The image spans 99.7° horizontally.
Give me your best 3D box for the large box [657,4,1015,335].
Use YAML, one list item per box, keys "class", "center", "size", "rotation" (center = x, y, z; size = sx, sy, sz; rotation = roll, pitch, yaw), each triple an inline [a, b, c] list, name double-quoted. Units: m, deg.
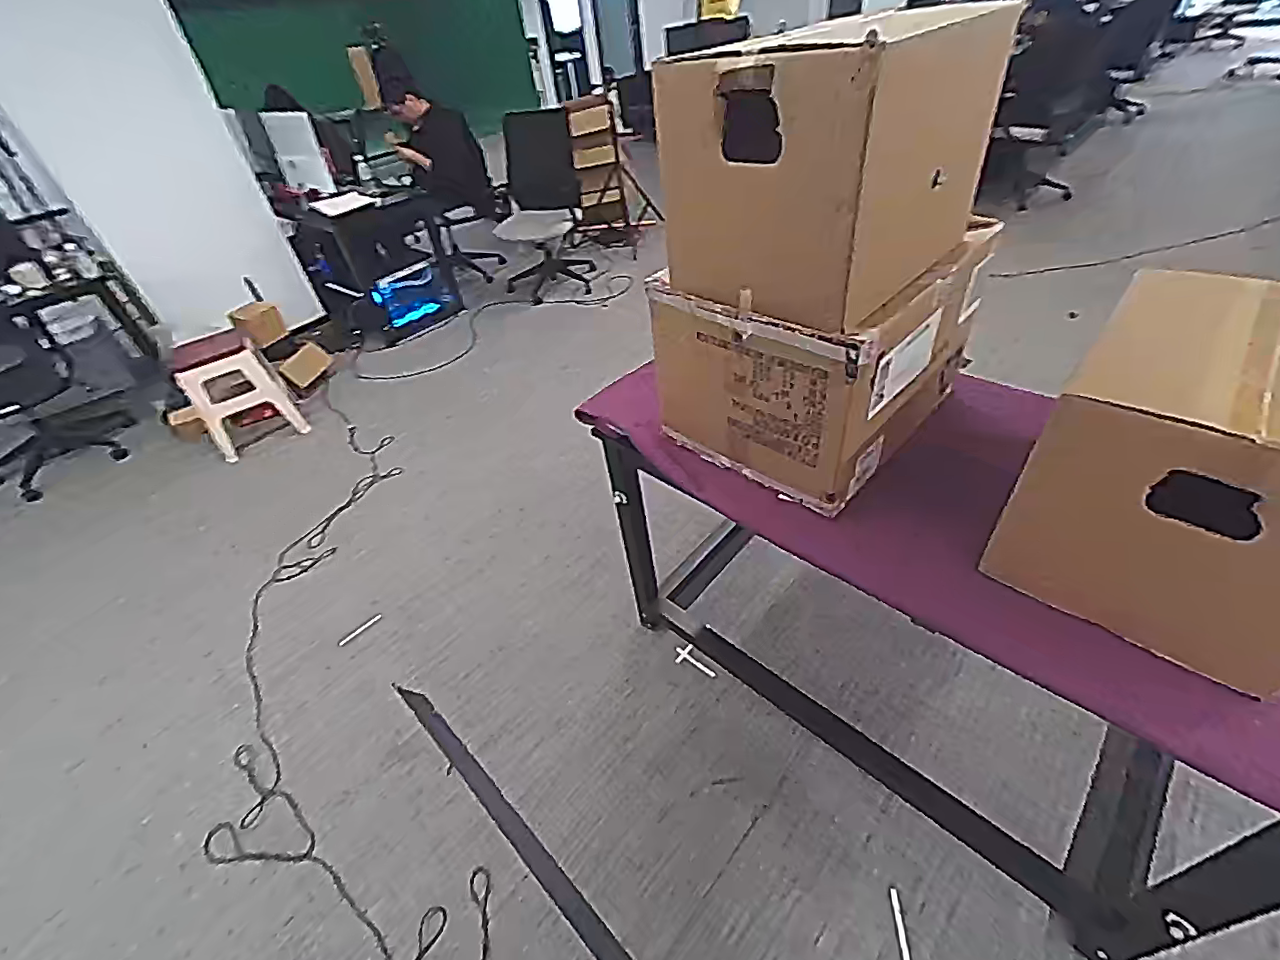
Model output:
- class: "large box"
  center: [0.279, -0.466, 0.802]
  size: [0.320, 0.320, 0.408]
  rotation: [27, 53, 36]
